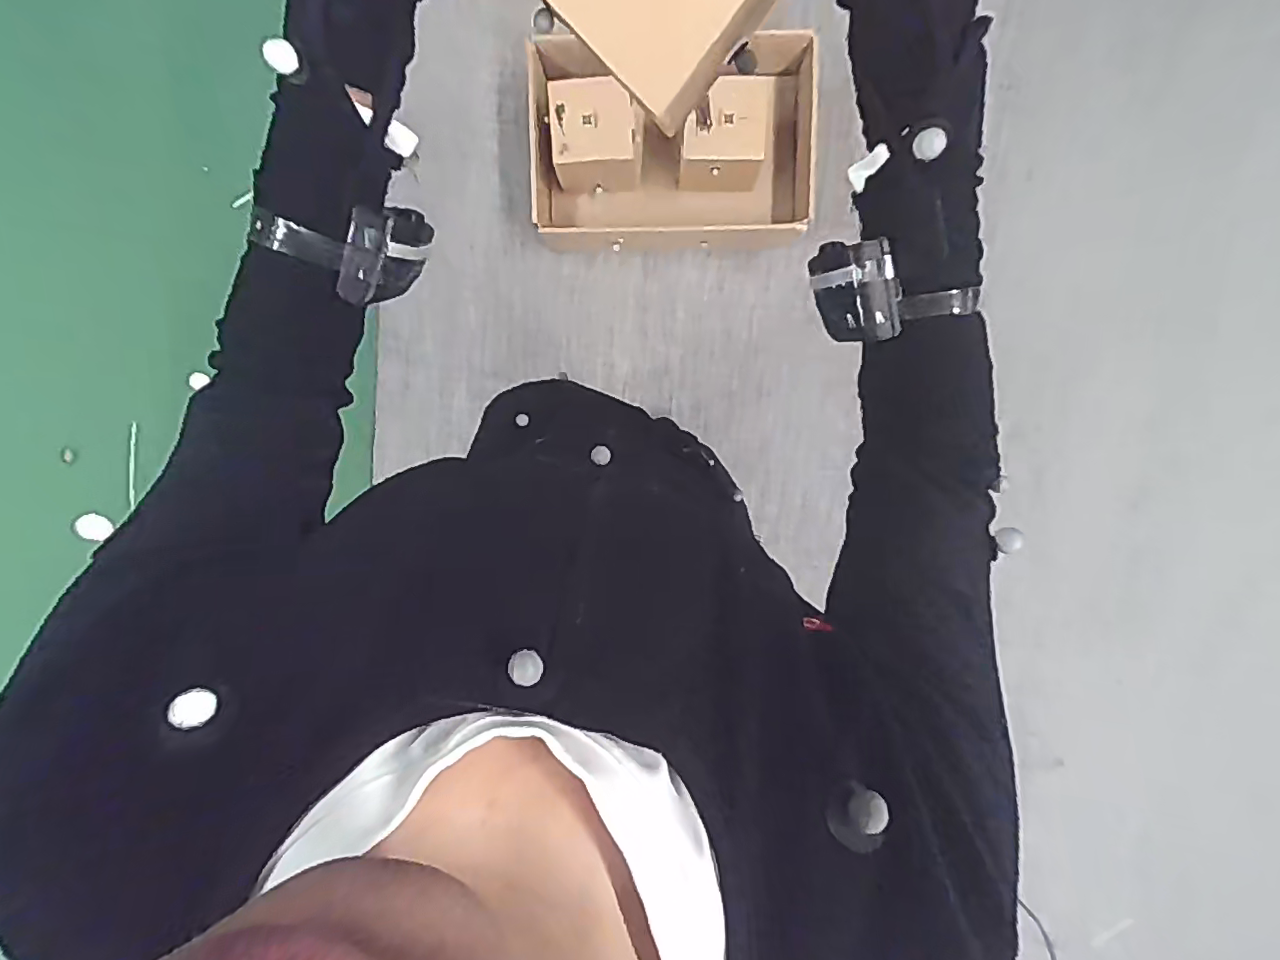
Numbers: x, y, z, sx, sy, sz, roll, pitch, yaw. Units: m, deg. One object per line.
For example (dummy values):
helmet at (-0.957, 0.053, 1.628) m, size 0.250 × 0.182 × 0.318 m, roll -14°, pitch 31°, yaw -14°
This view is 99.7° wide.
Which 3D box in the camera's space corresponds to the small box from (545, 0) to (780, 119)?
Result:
small box at (0.010, -0.355, 0.329) m, size 0.179 × 0.176 × 0.168 m, roll 38°, pitch 117°, yaw -15°

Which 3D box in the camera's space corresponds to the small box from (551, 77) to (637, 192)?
small box at (-0.099, -0.770, 1.220) m, size 0.179 × 0.176 × 0.168 m, roll -3°, pitch 96°, yaw 0°

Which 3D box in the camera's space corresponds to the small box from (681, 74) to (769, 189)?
small box at (0.182, -0.772, 1.213) m, size 0.179 × 0.176 × 0.168 m, roll 2°, pitch 98°, yaw 2°
